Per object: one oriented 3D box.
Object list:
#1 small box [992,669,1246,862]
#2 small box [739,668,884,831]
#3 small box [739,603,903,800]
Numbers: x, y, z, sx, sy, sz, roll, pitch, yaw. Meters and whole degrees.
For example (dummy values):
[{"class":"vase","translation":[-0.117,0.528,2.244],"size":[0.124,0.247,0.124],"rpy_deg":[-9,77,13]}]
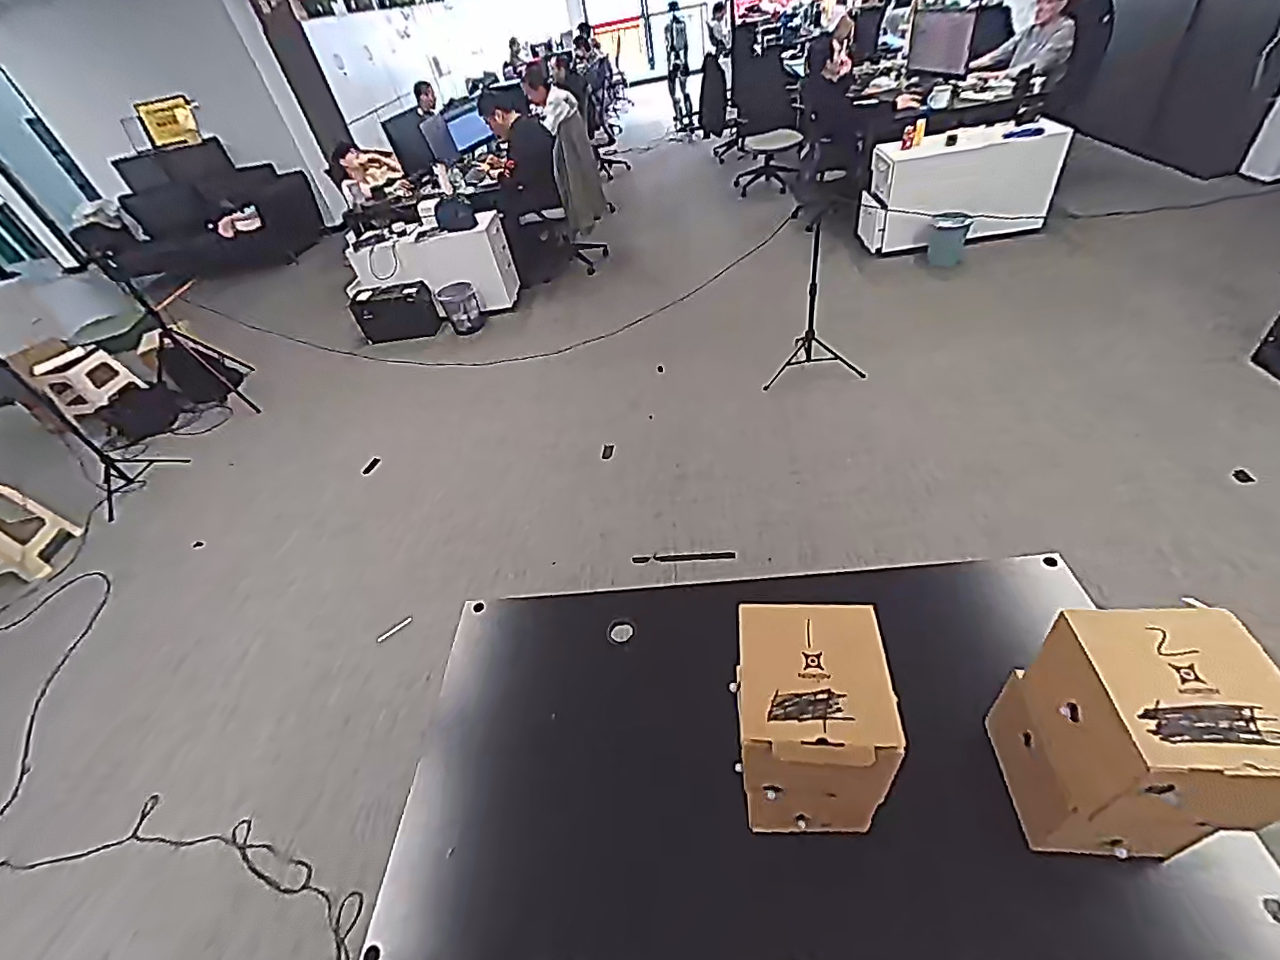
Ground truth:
[{"class":"small box","translation":[0.596,0.371,0.711],"size":[0.168,0.176,0.179],"rpy_deg":[-4,43,11]},{"class":"small box","translation":[0.234,0.386,0.786],"size":[0.168,0.176,0.179],"rpy_deg":[-6,43,8]},{"class":"small box","translation":[0.209,0.273,0.669],"size":[0.168,0.176,0.179],"rpy_deg":[-2,43,11]}]
